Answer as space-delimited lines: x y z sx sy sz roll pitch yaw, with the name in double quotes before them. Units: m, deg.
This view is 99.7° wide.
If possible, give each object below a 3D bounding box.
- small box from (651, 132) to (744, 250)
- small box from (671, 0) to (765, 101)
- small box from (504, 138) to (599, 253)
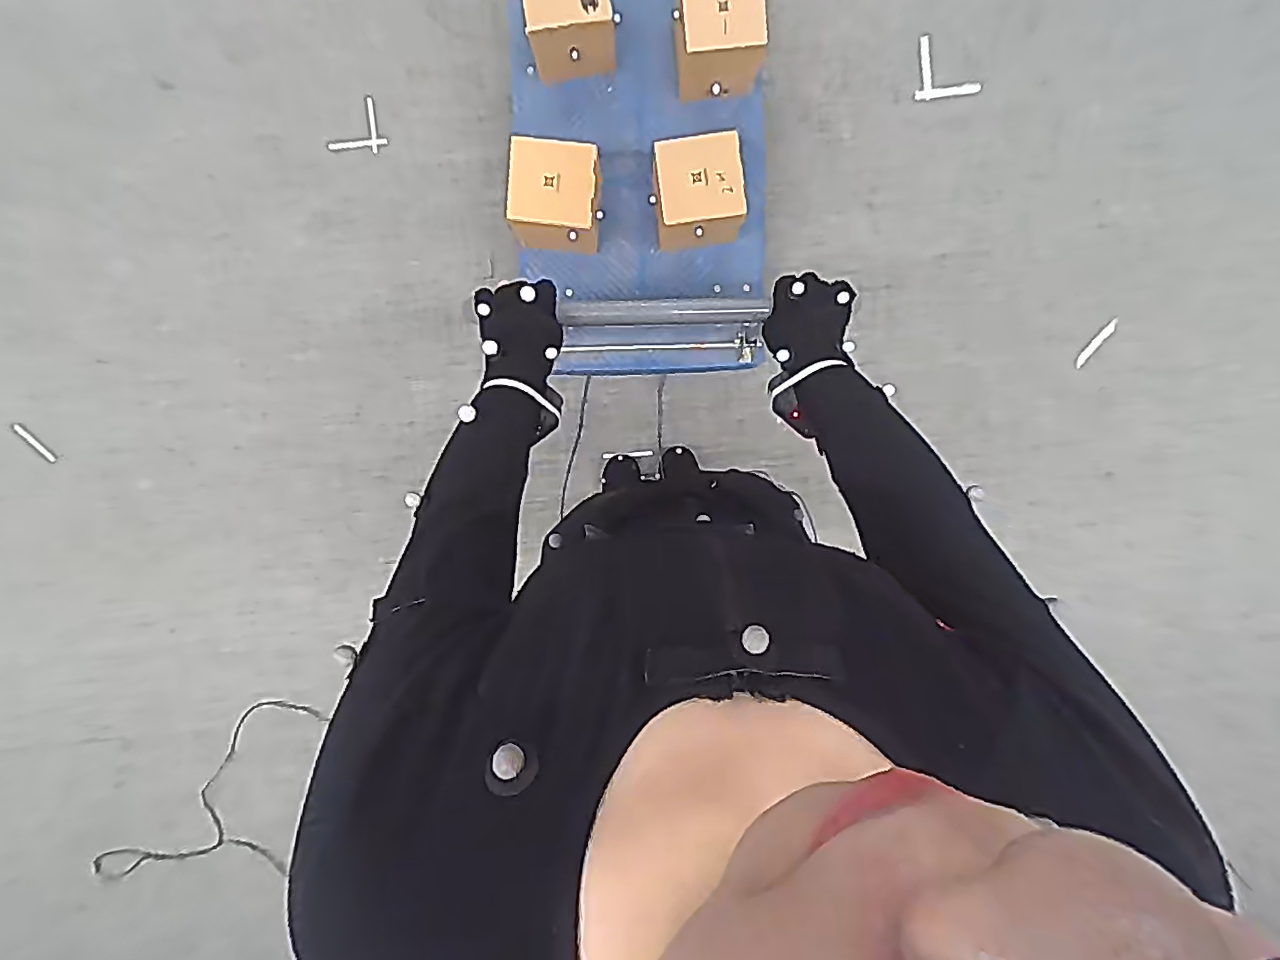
"small box" 0.119 -0.618 1.178 0.179 0.176 0.168 -8 95 0
"small box" 0.159 -0.952 1.148 0.168 0.176 0.179 -6 96 0
"small box" -0.186 -0.608 1.176 0.179 0.176 0.168 4 95 -2
